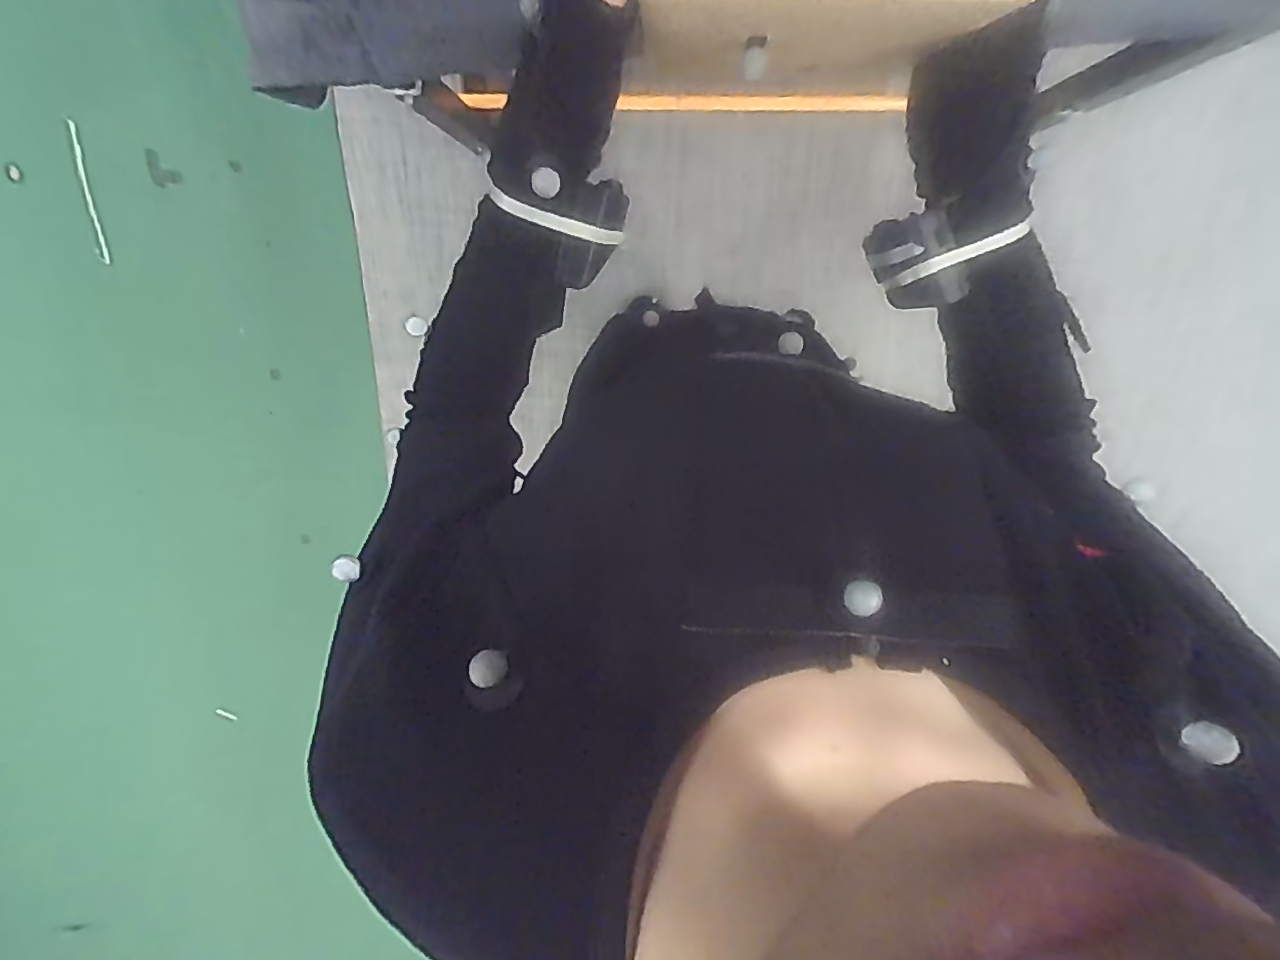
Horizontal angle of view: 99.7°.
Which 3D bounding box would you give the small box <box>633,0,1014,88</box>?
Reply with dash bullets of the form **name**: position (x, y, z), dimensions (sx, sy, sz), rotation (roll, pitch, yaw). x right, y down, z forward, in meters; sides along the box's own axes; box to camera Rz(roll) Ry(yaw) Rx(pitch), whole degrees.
- **small box**: position (0.085, -0.313, 0.266), dimensions (0.168, 0.176, 0.179), rotation (2, 115, 2)
